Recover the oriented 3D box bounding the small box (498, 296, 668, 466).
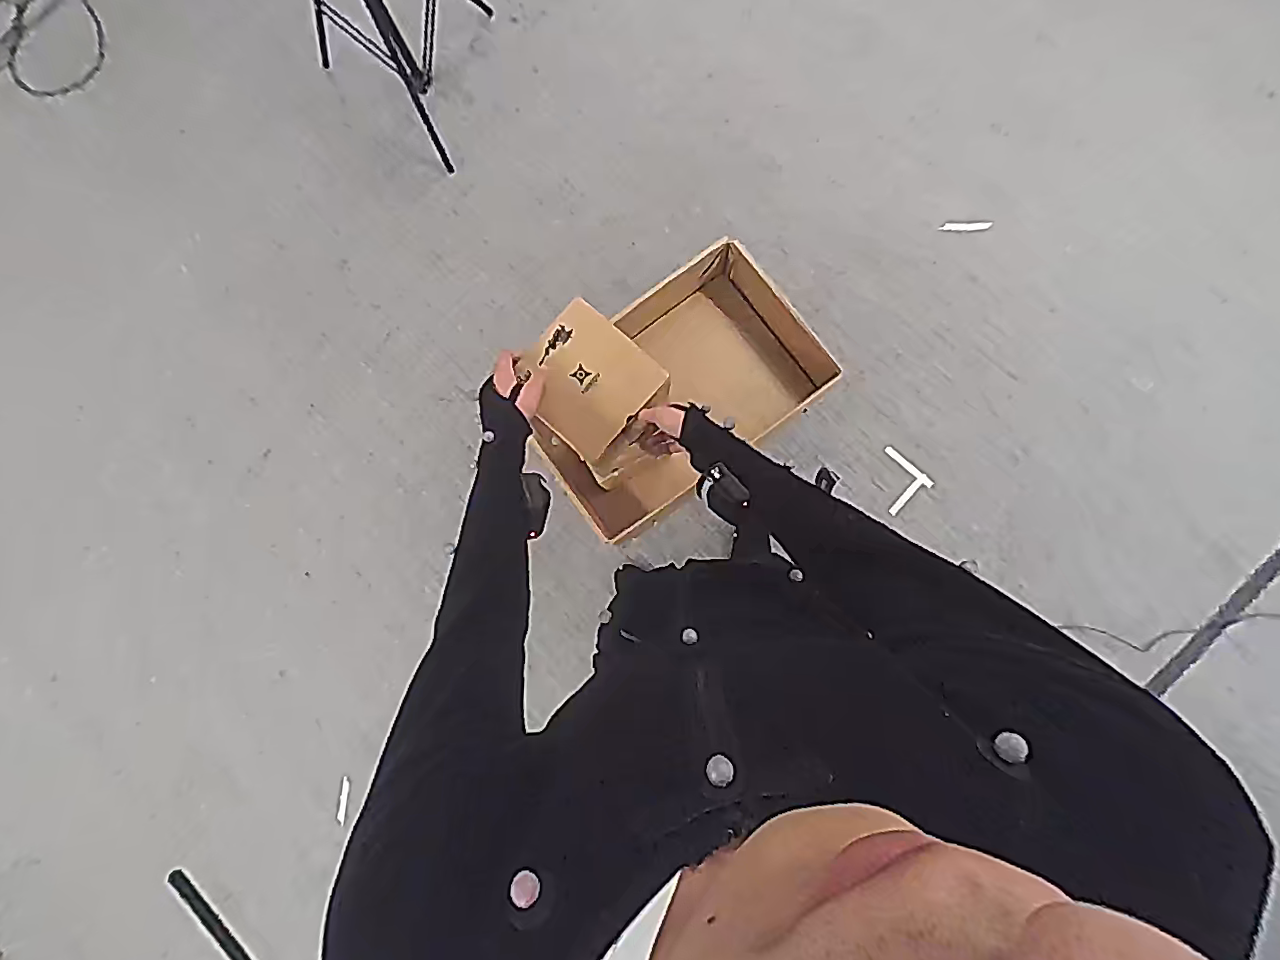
[{"bbox_3d":[-0.076,-0.135,0.814,0.179,0.176,0.168,41,89,2],"label":"small box"}]

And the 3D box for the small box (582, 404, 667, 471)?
[{"bbox_3d":[-0.055,-0.128,1.026,0.168,0.176,0.179,-29,82,0],"label":"small box"}]
